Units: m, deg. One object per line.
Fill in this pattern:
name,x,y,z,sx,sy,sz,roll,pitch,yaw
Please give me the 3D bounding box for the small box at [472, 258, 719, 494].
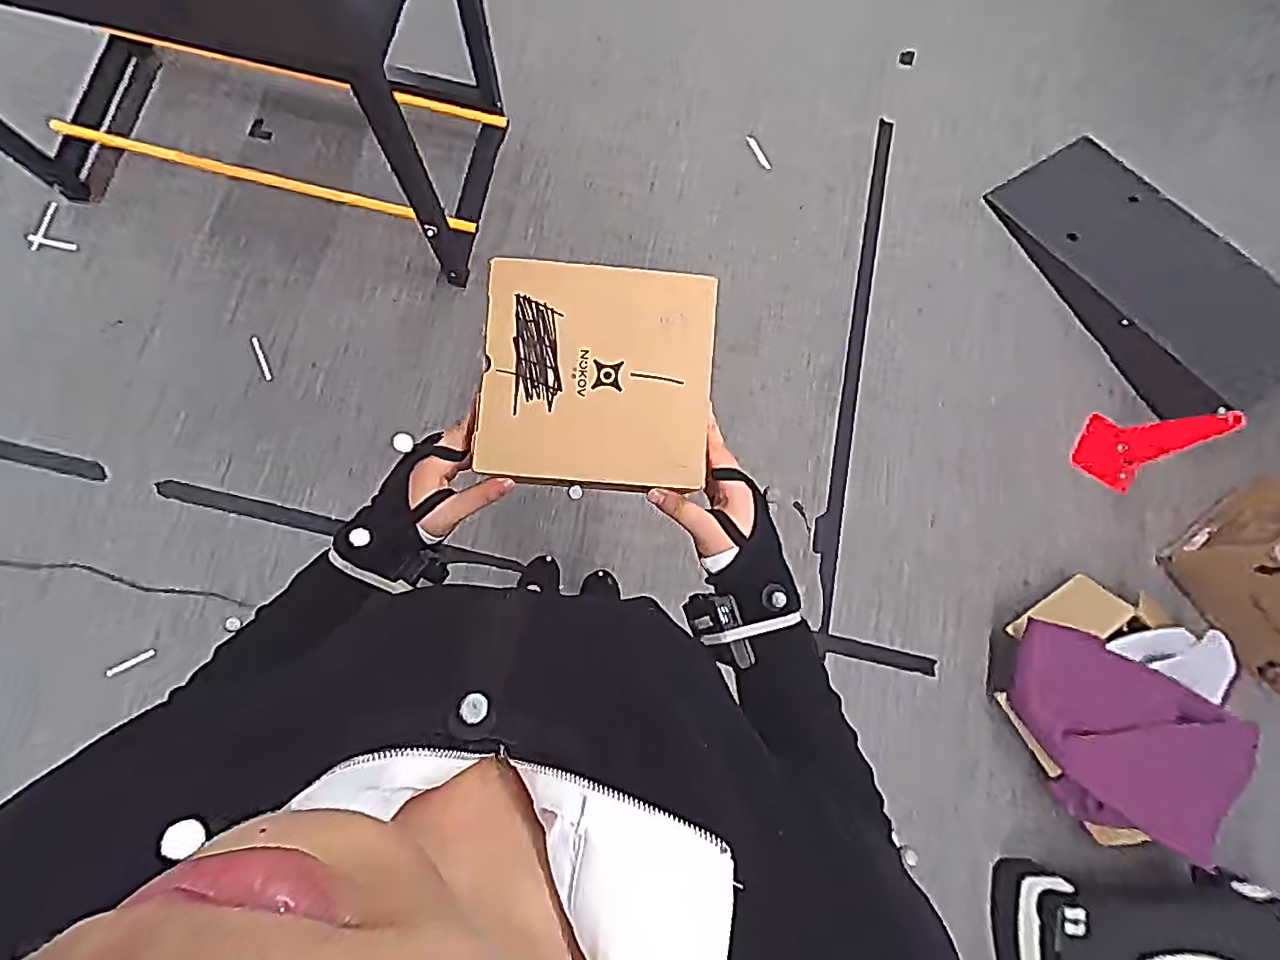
small box,-0.035,-0.076,0.485,0.179,0.176,0.168,4,88,-3
